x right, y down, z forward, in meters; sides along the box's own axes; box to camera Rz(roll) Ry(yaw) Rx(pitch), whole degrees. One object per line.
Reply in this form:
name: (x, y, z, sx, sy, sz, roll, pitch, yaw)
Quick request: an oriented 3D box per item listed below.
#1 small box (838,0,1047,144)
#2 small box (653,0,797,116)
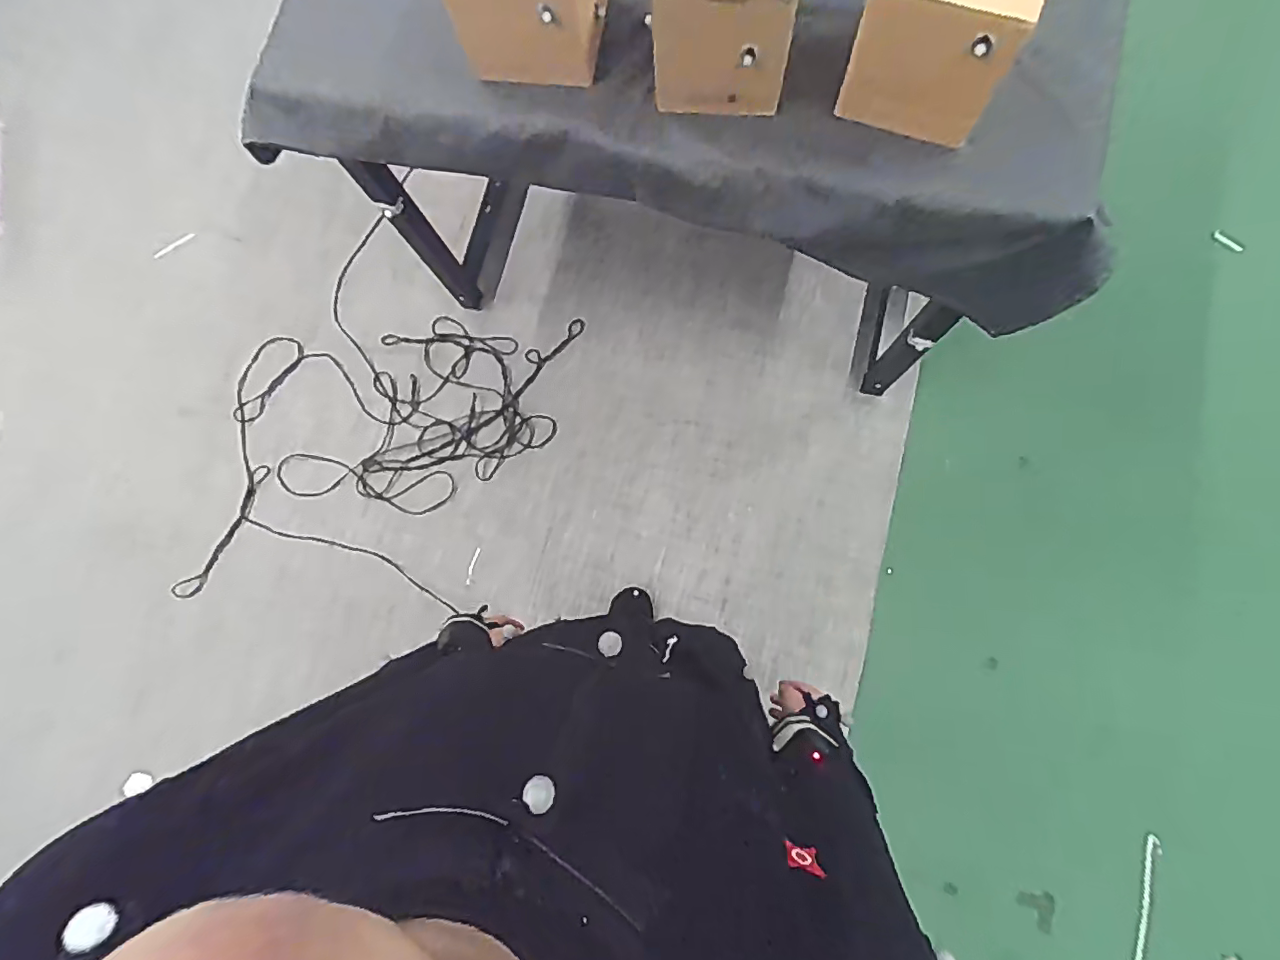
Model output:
small box: (0.364, -0.551, 0.655, 0.179, 0.176, 0.168, 21, 82, 8)
small box: (0.111, -0.602, 0.686, 0.168, 0.176, 0.179, 6, 79, 5)
